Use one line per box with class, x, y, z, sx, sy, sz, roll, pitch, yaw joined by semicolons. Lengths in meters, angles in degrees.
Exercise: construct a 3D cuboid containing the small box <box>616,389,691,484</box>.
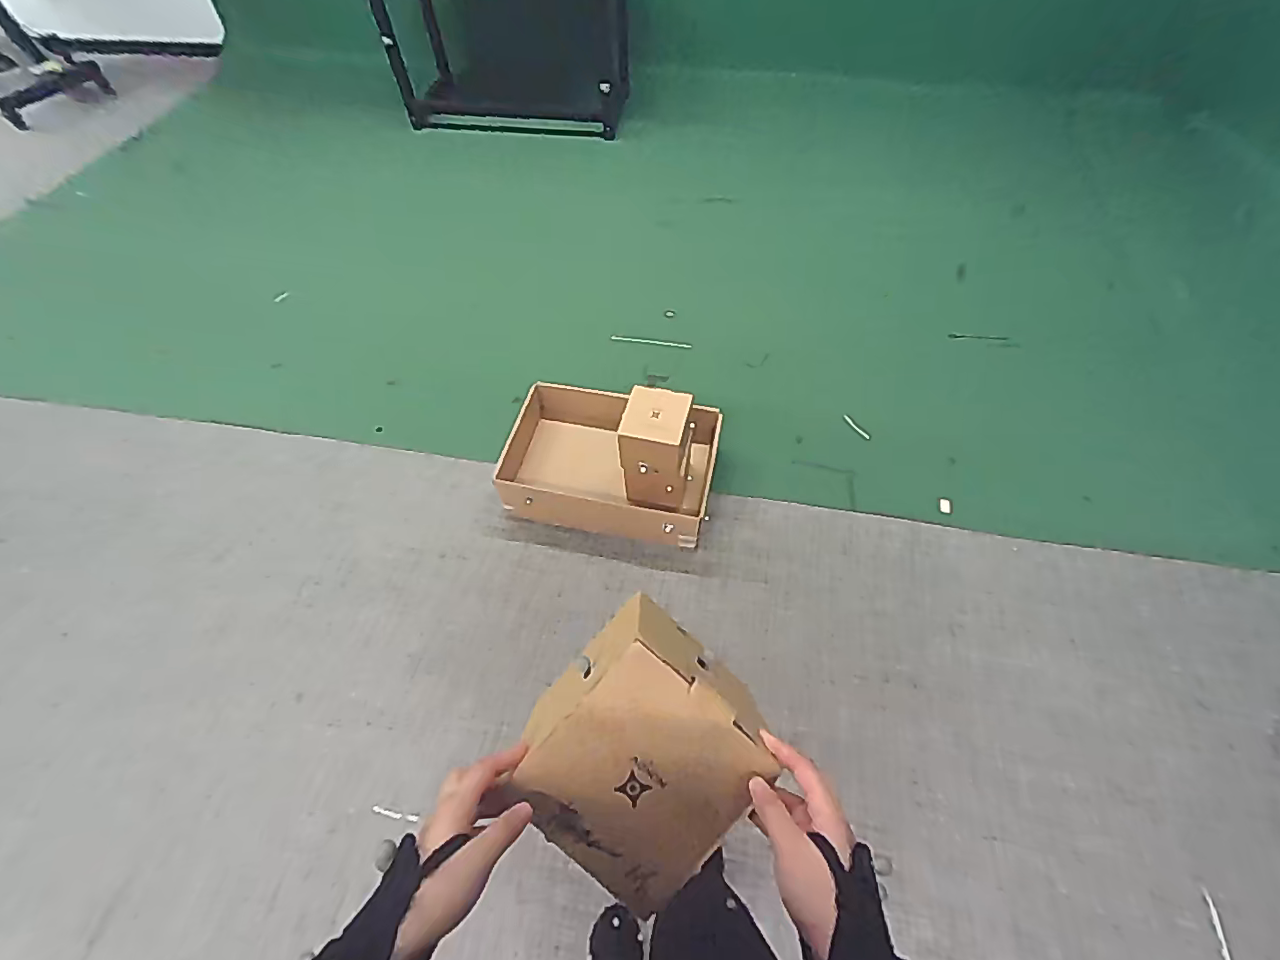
small box;0.039;-0.117;1.472;0.168;0.176;0.179;11;59;10
